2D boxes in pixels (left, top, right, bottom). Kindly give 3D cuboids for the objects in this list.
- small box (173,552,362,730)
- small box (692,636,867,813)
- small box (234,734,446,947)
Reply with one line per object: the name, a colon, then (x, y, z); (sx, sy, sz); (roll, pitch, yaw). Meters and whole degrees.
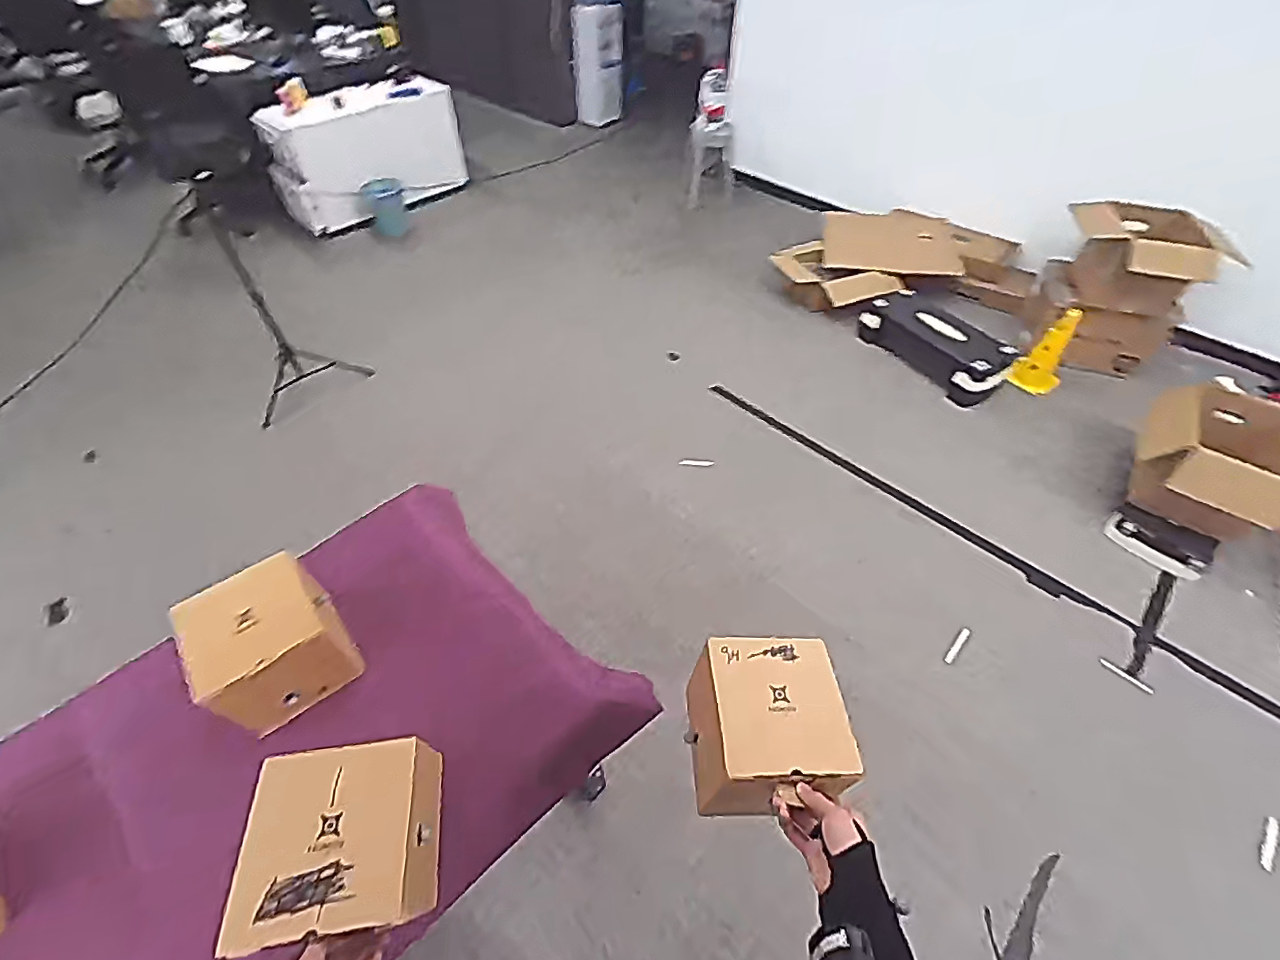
small box: (-0.574, 0.255, 0.850); (0.168, 0.176, 0.179); (-32, 58, -25)
small box: (0.169, 0.330, 0.723); (0.168, 0.176, 0.179); (4, 45, -6)
small box: (-0.334, 0.420, 0.646); (0.168, 0.176, 0.179); (-3, 56, -10)
